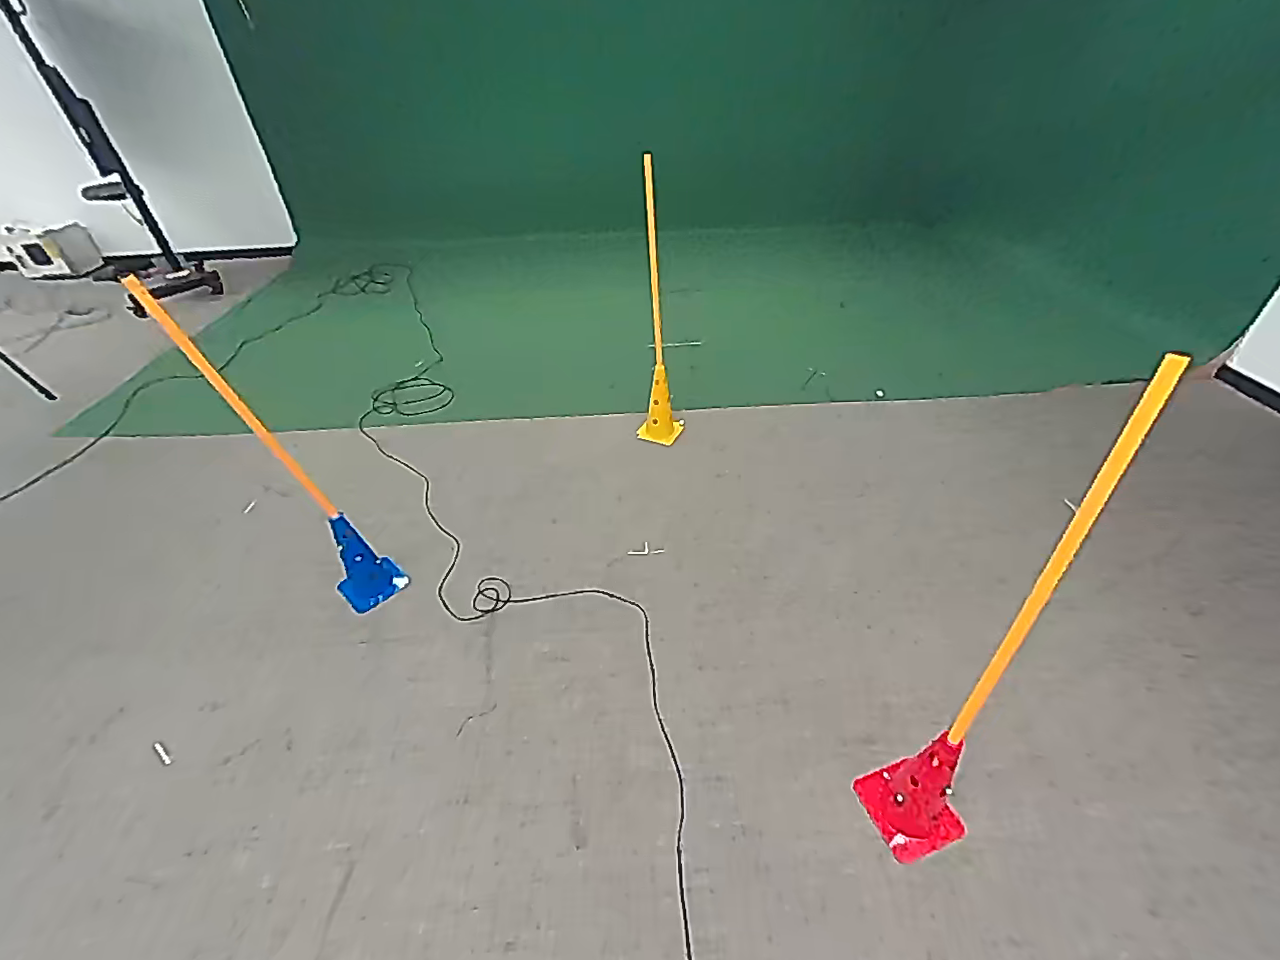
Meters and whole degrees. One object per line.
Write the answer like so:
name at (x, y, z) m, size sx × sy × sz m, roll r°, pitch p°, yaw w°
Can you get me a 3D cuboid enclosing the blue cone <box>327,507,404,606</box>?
blue cone at (-0.984, 0.243, 1.866) m, size 0.192 × 0.380 × 0.193 m, roll 30°, pitch 51°, yaw 31°
